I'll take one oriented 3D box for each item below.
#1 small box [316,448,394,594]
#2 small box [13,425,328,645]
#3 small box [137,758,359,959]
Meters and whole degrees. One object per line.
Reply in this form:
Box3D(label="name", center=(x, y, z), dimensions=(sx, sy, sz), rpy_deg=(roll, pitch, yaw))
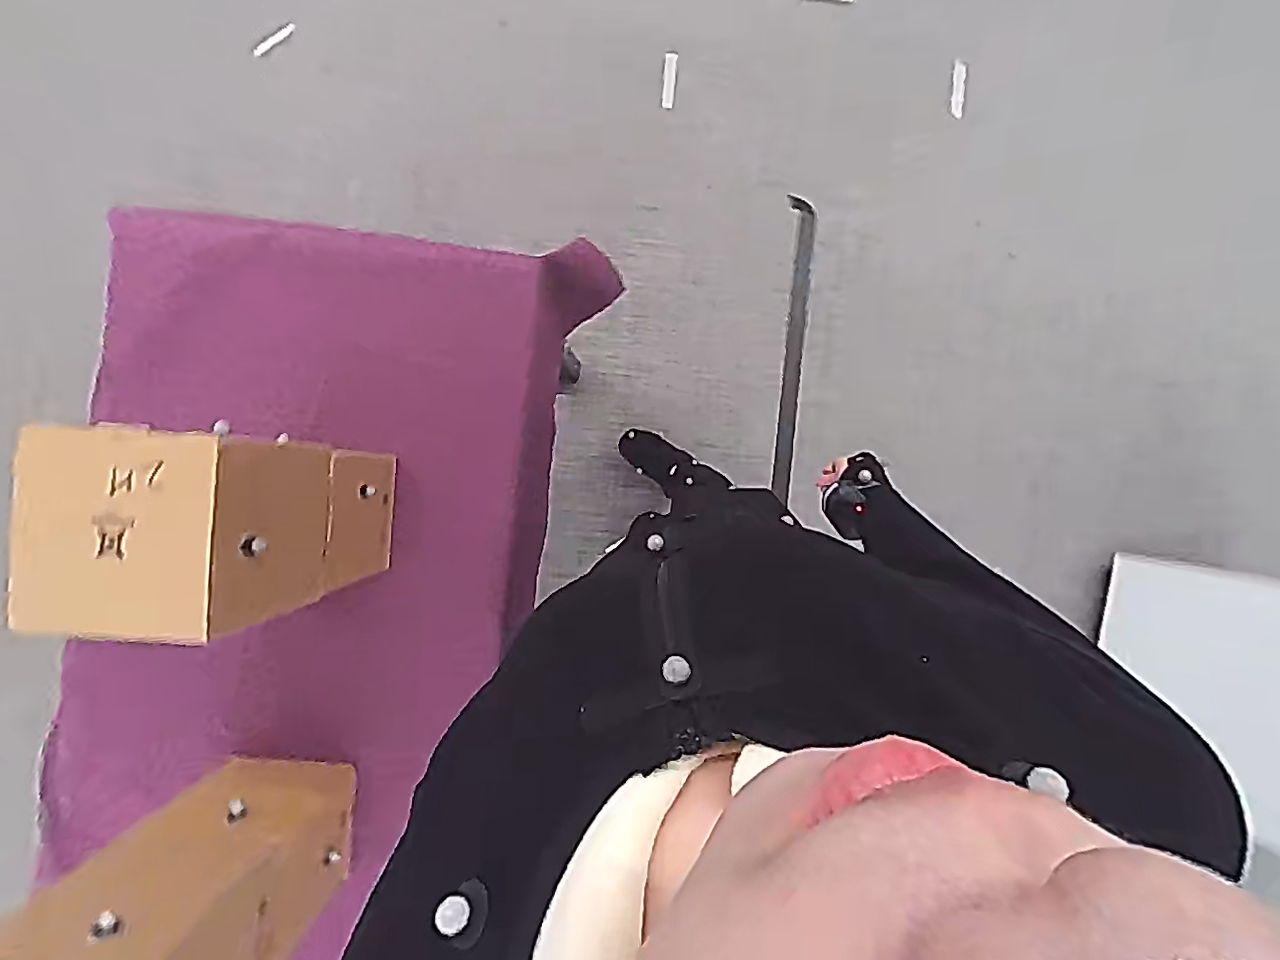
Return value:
Box3D(label="small box", center=(-0.438, 0.040, 0.693), dimensions=(0.179, 0.176, 0.168), rpy_deg=(5, 91, 0))
Box3D(label="small box", center=(-0.434, 0.045, 0.529), dimensions=(0.168, 0.176, 0.179), rpy_deg=(4, 90, -1))
Box3D(label="small box", center=(-0.499, 0.486, 0.703), dimensions=(0.179, 0.176, 0.168), rpy_deg=(4, 91, -1))
